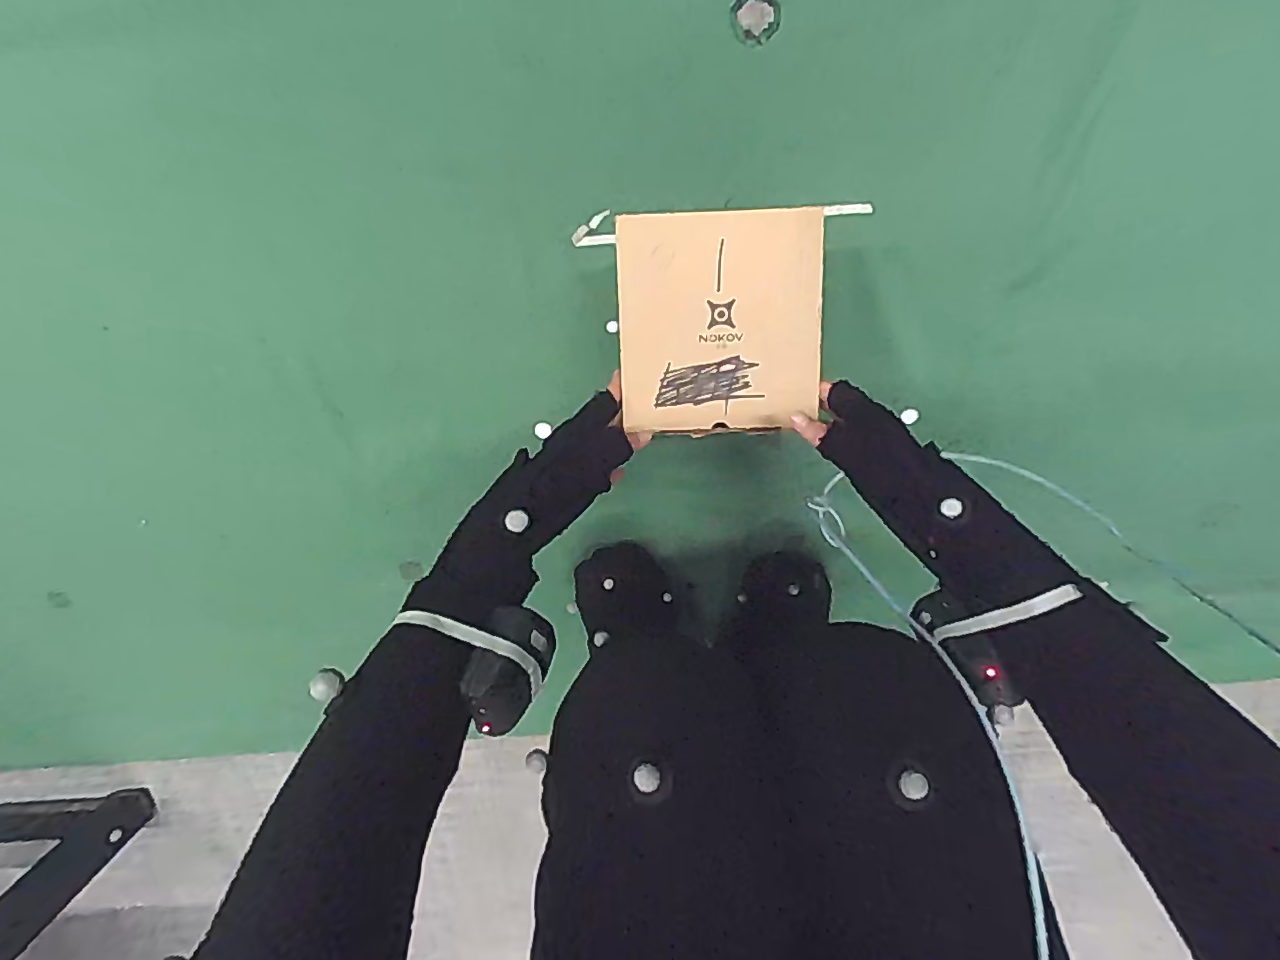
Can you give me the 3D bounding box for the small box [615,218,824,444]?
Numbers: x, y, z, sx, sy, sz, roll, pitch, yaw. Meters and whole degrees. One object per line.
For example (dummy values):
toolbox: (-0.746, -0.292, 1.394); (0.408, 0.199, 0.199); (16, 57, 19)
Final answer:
small box: (0.066, -0.132, 0.516); (0.168, 0.176, 0.179); (-1, 99, 1)
